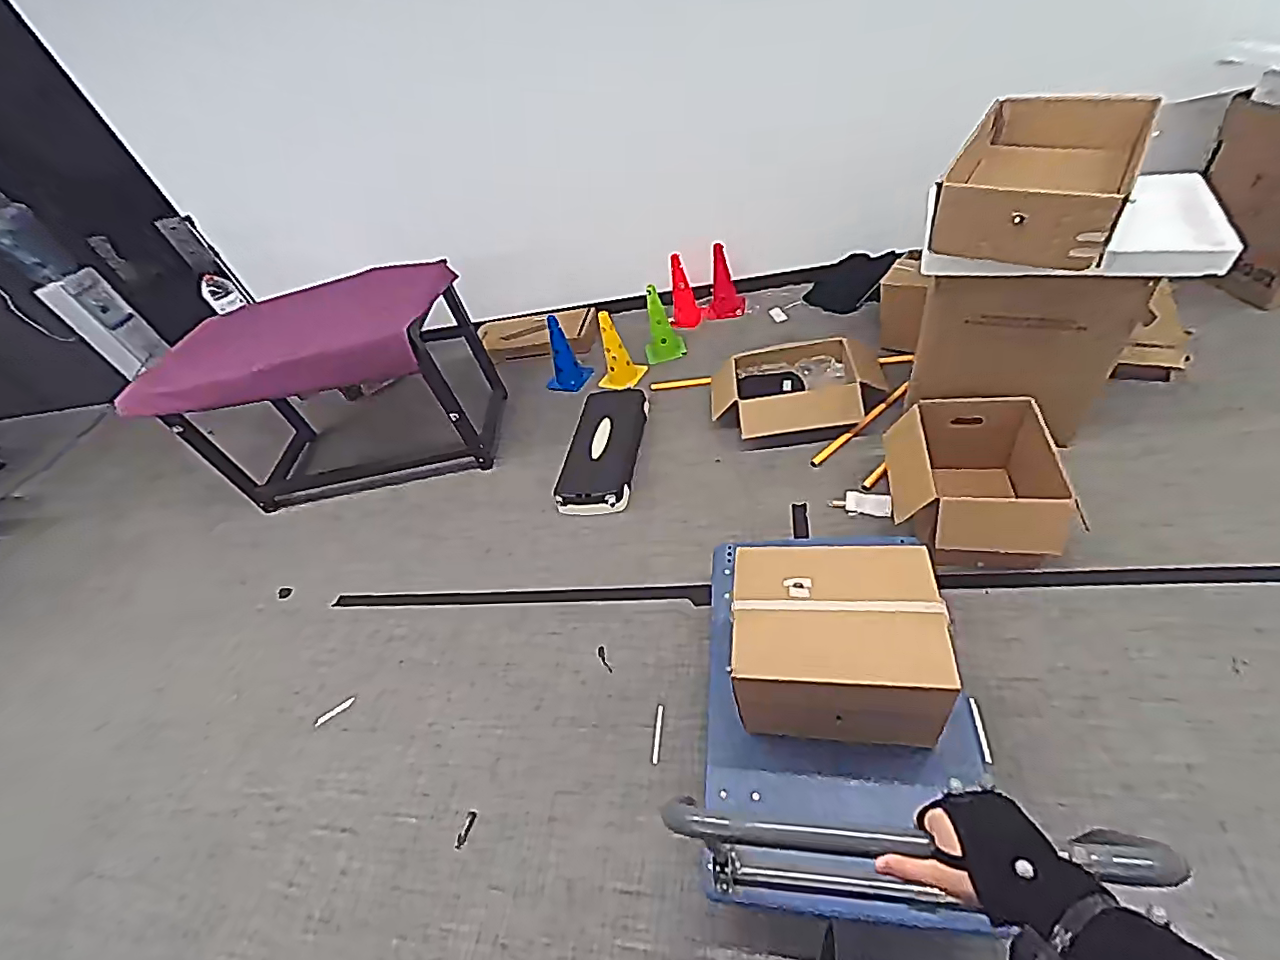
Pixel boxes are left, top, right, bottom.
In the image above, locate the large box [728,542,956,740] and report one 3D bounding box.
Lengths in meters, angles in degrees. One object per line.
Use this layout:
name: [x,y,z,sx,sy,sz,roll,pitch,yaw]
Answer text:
large box: [0.419,0.358,1.196,0.408,0.320,0.320,-4,45,16]
